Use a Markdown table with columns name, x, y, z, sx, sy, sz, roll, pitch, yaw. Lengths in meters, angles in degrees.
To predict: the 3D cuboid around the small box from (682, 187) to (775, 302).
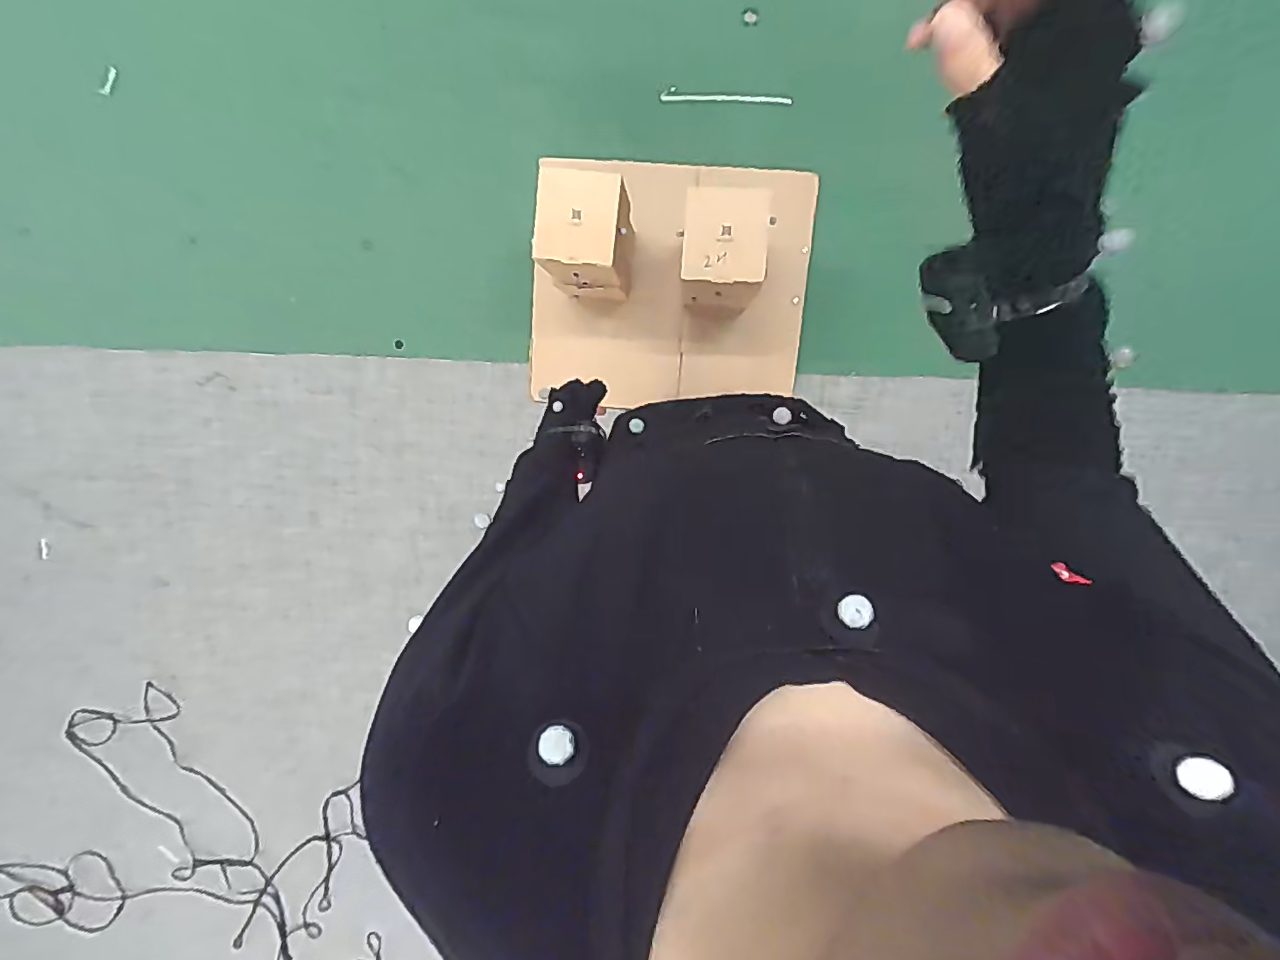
| name | x | y | z | sx | sy | sz | roll | pitch | yaw |
| --- | --- | --- | --- | --- | --- | --- | --- | --- | --- |
| small box | 0.176 | -0.481 | 1.124 | 0.168 | 0.176 | 0.179 | 5 | 98 | 5 |

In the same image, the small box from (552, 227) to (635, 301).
| name | x | y | z | sx | sy | sz | roll | pitch | yaw |
| --- | --- | --- | --- | --- | --- | --- | --- | --- | --- |
| small box | -0.107 | -0.538 | 1.305 | 0.168 | 0.176 | 0.179 | 7 | 98 | 4 |

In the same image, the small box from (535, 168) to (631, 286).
| name | x | y | z | sx | sy | sz | roll | pitch | yaw |
| --- | --- | --- | --- | --- | --- | --- | --- | --- | --- |
| small box | -0.114 | -0.526 | 1.142 | 0.168 | 0.176 | 0.179 | 8 | 99 | 4 |
